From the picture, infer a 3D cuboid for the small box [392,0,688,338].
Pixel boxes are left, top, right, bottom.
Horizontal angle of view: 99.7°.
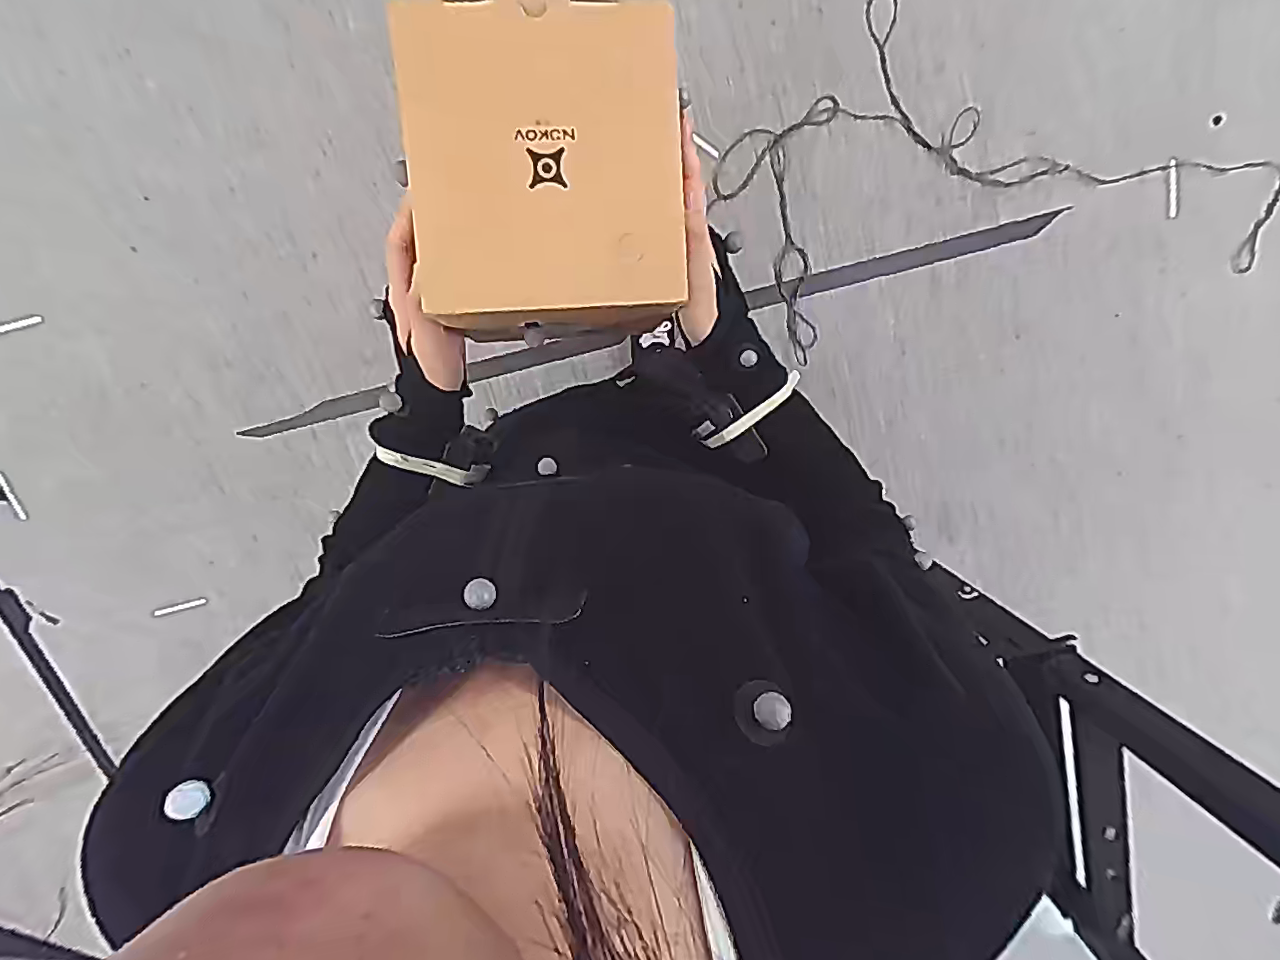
[{"bbox_3d":[-0.061,-0.203,0.402,0.168,0.176,0.179,-5,98,-5],"label":"small box"}]
